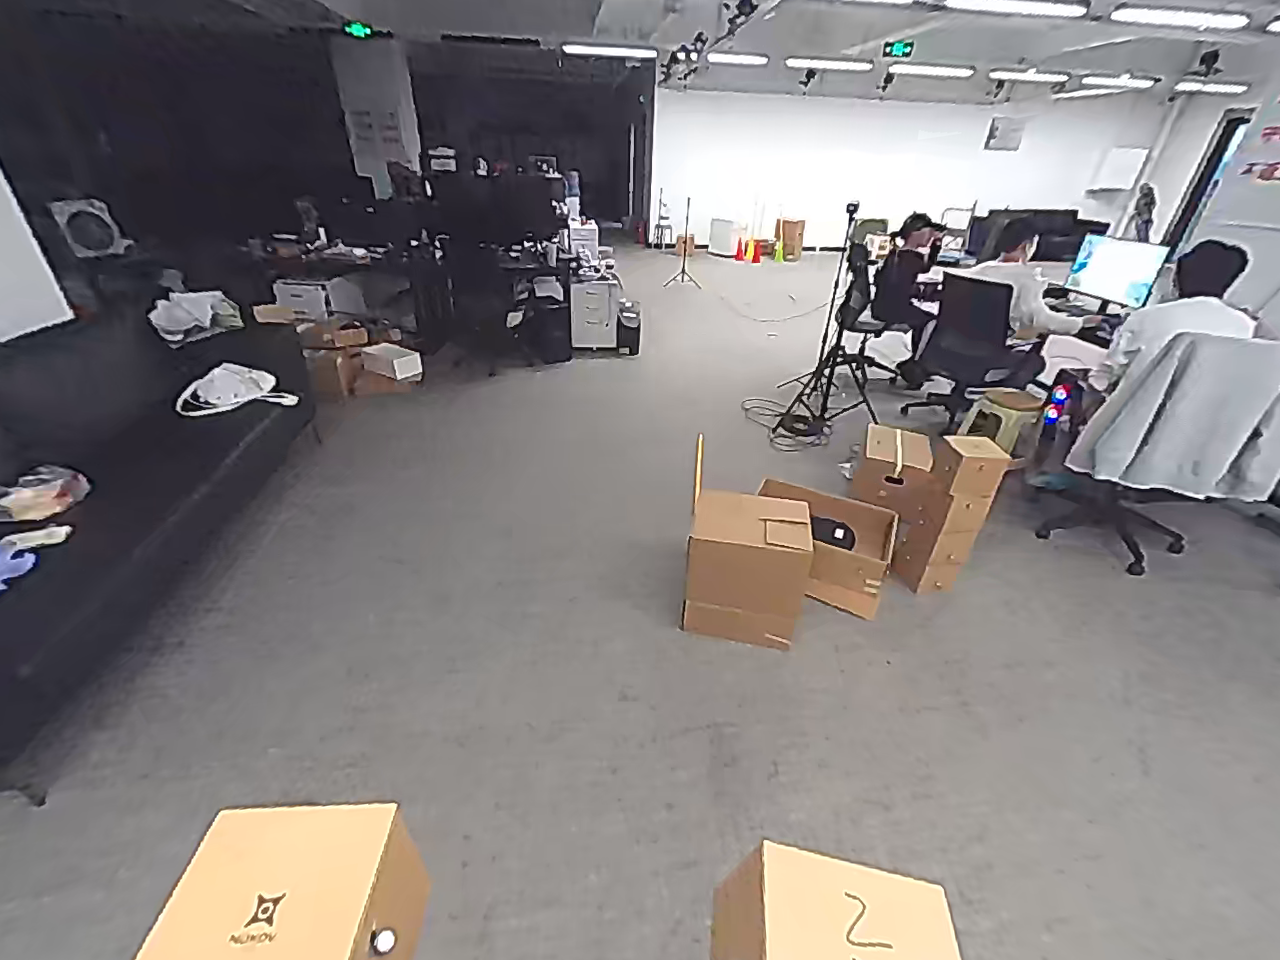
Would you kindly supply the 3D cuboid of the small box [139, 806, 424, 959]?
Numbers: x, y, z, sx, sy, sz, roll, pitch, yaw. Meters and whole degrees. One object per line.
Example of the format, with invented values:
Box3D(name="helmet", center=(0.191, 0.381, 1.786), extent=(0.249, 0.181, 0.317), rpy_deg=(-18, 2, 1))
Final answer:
Box3D(name="small box", center=(-0.306, 0.425, 0.482), extent=(0.168, 0.176, 0.179), rpy_deg=(0, 33, -3))
